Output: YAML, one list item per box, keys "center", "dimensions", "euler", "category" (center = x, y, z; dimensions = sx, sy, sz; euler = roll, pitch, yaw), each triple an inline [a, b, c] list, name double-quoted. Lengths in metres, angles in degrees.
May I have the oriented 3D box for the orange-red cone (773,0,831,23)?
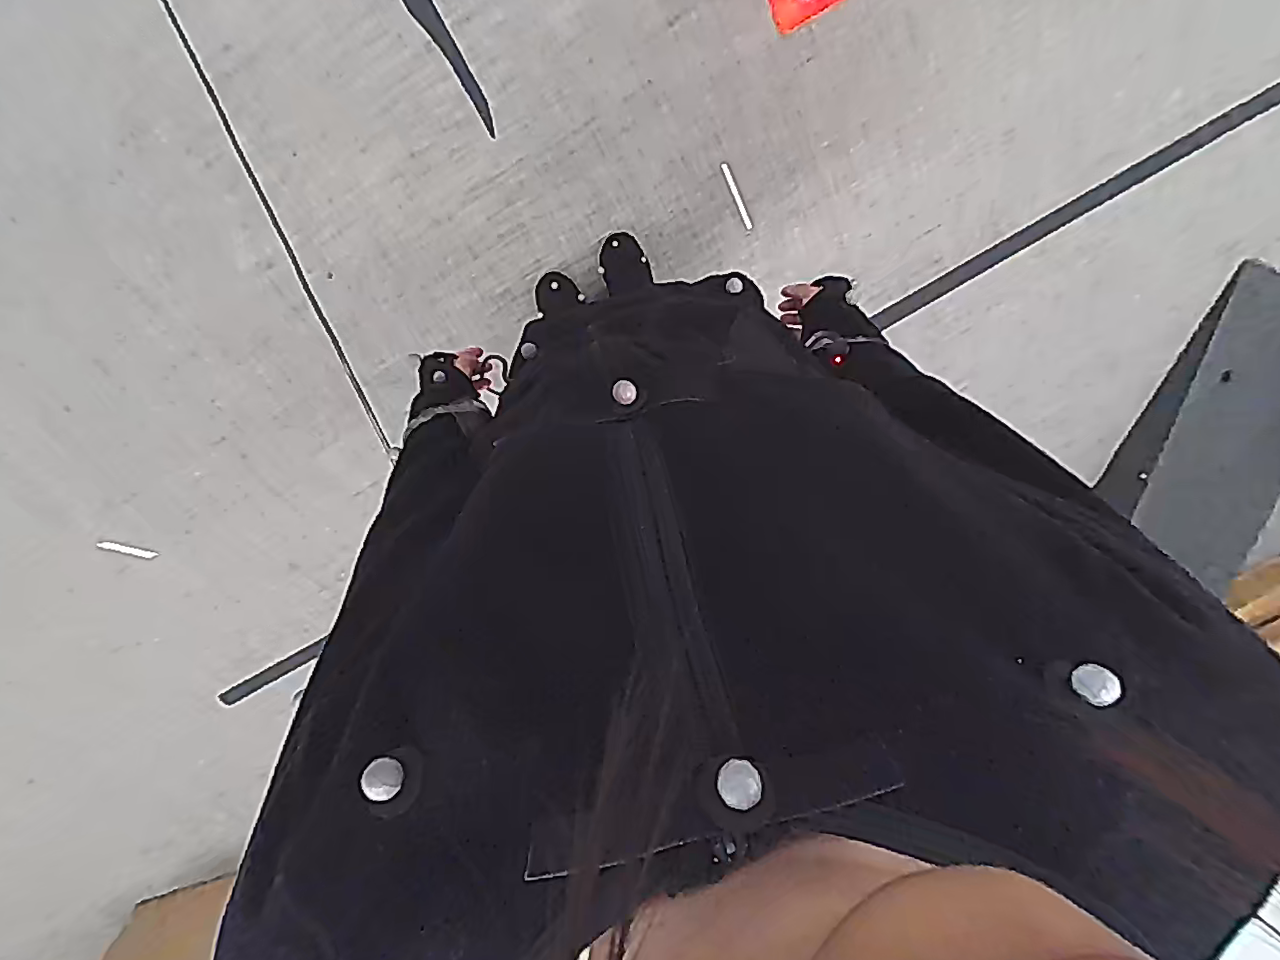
- center: [0.349, -0.966, 0.893]
  dimensions: [0.198, 0.360, 0.199]
  euler: [-26, 115, 6]
  category: "orange-red cone"
